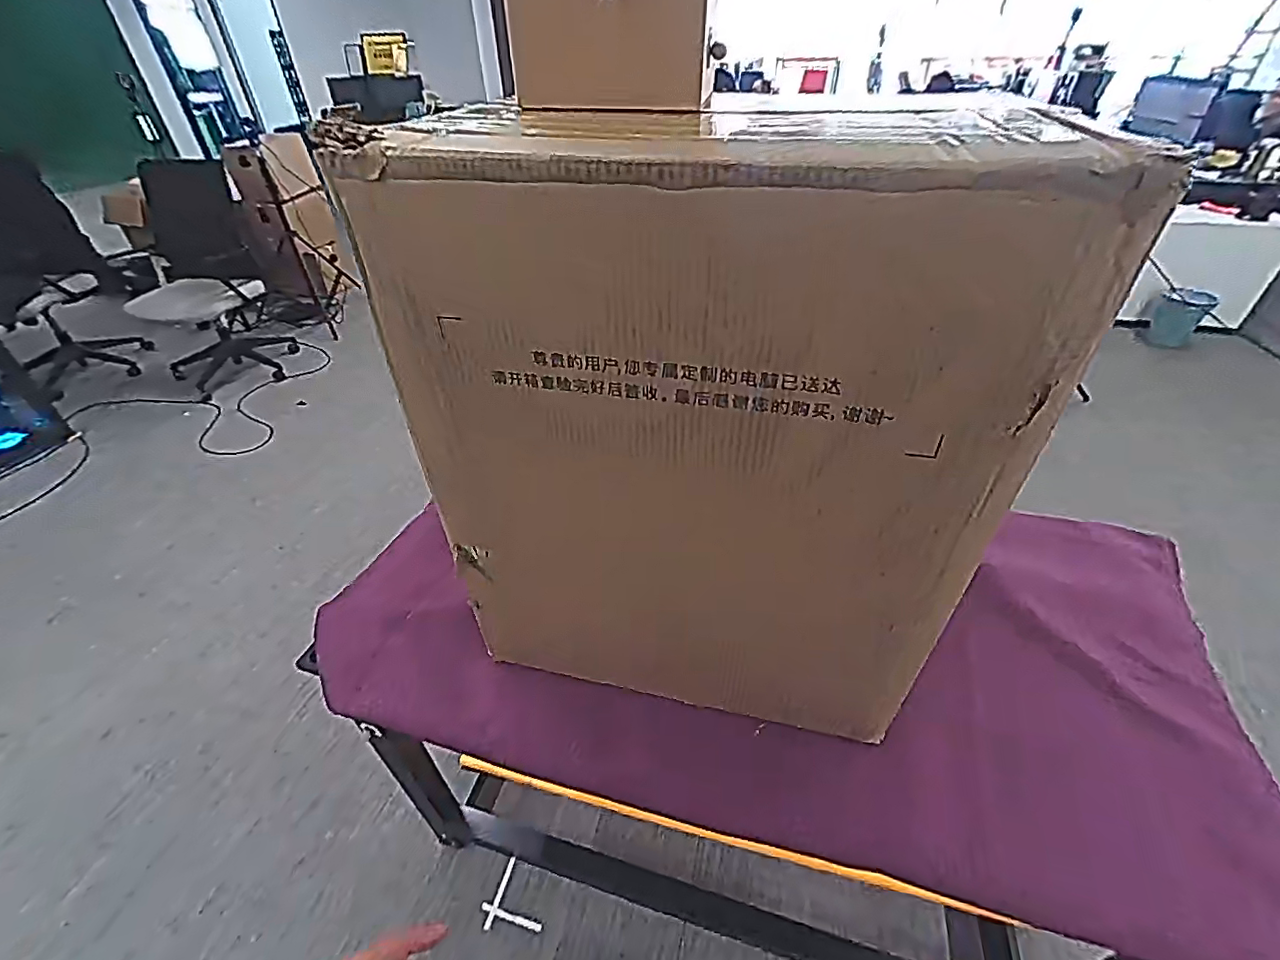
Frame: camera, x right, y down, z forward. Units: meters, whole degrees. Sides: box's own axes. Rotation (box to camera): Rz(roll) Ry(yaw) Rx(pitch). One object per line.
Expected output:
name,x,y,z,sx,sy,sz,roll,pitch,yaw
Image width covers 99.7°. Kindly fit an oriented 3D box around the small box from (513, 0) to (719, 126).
small box,-0.015,-0.434,0.493,0.168,0.176,0.179,6,40,7
